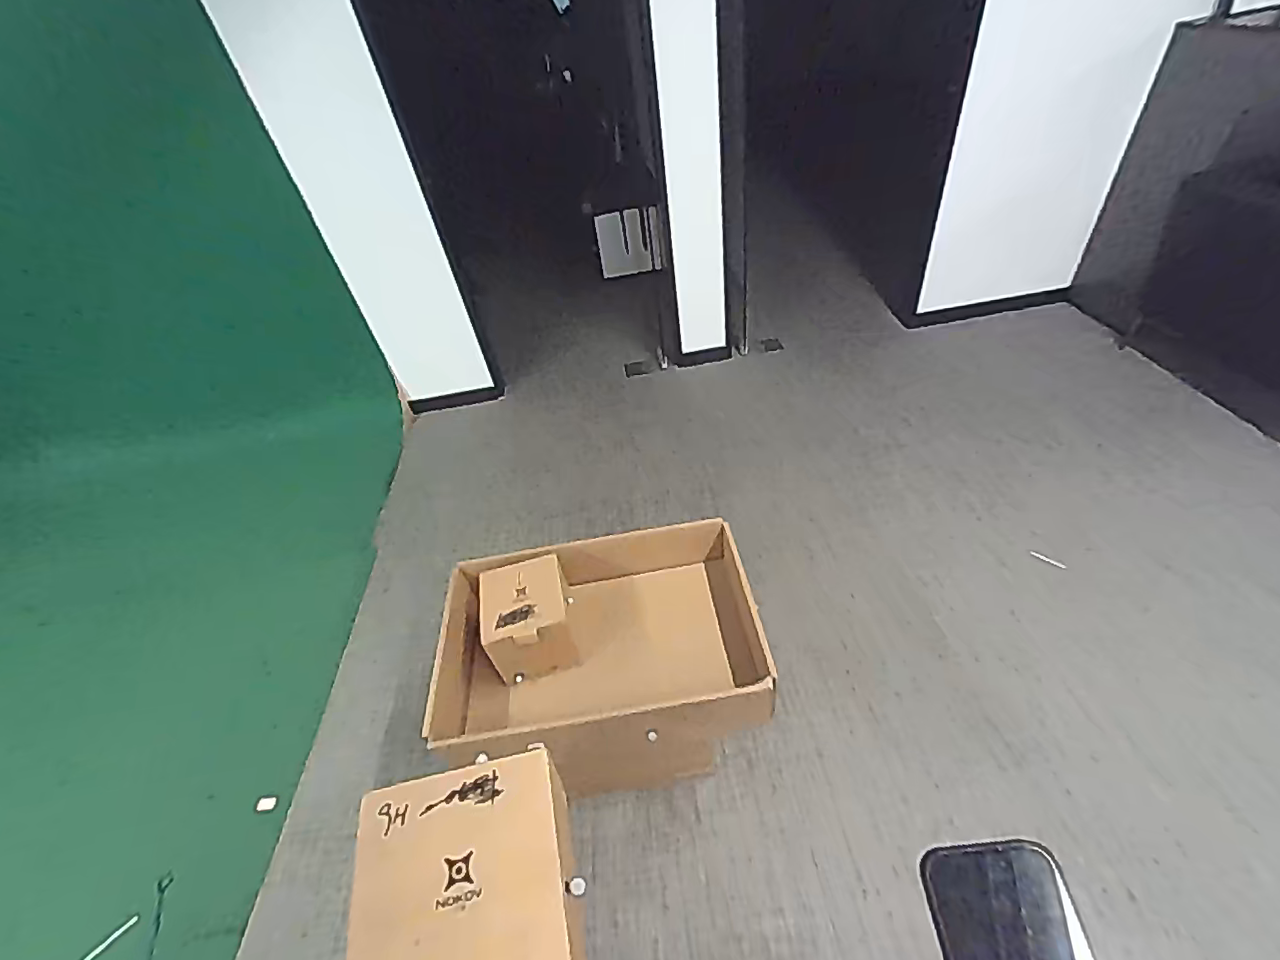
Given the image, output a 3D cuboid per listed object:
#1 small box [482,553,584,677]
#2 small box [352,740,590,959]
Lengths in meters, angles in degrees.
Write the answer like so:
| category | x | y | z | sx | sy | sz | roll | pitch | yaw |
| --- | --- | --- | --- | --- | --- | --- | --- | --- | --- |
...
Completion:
| category | x | y | z | sx | sy | sz | roll | pitch | yaw |
| --- | --- | --- | --- | --- | --- | --- | --- | --- | --- |
| small box | -0.221 | 0.286 | 1.126 | 0.168 | 0.176 | 0.179 | -15 | 42 | -5 |
| small box | -0.144 | 0.373 | 0.501 | 0.168 | 0.176 | 0.179 | -11 | 49 | -9 |
